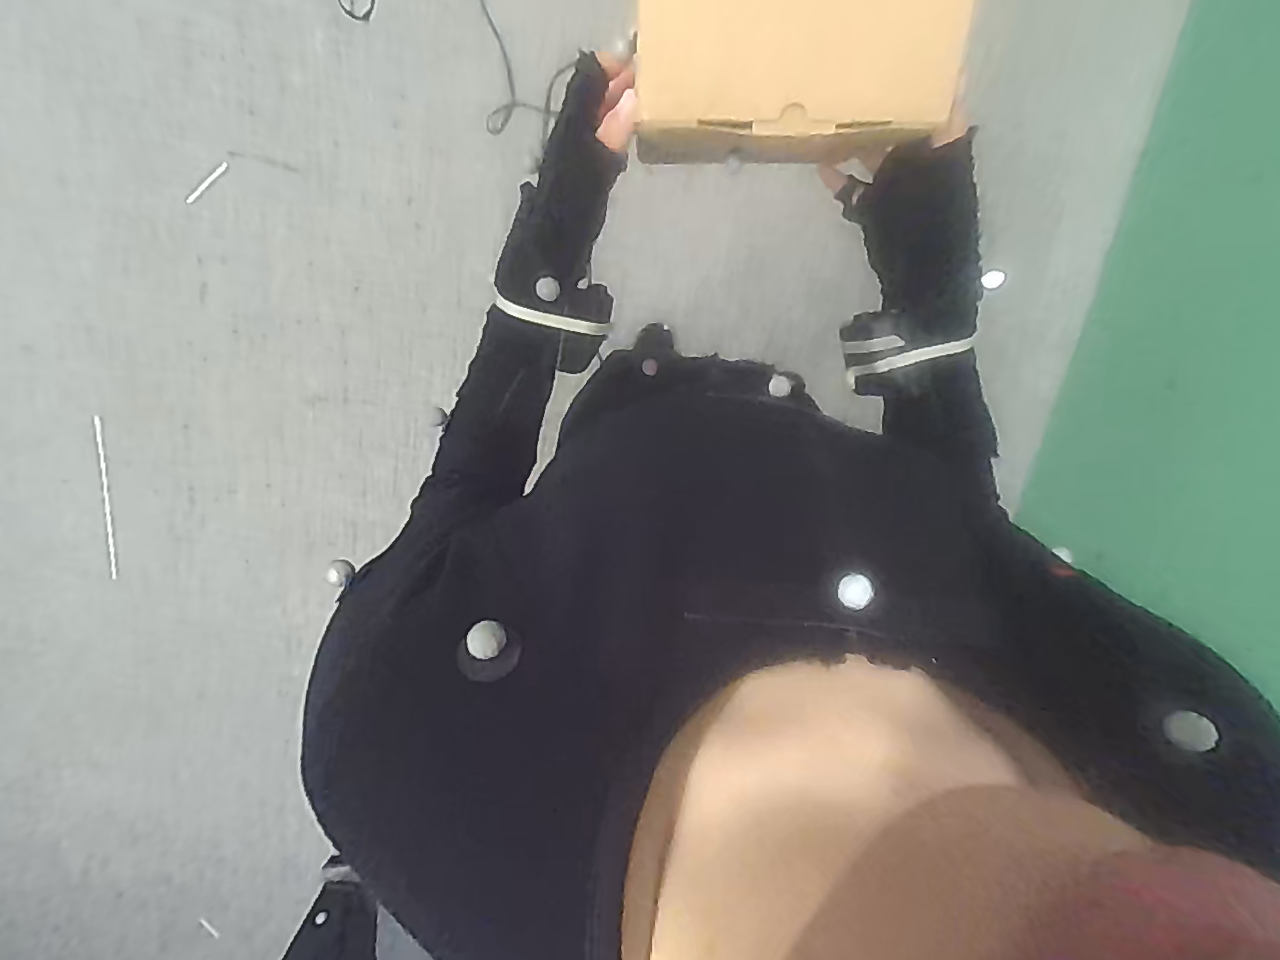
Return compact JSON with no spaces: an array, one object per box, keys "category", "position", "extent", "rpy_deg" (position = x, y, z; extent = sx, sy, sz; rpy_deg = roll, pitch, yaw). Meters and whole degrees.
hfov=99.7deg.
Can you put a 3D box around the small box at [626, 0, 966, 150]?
[{"category":"small box","position":[0.075,-0.306,0.315],"extent":[0.168,0.176,0.179],"rpy_deg":[0,116,1]}]
